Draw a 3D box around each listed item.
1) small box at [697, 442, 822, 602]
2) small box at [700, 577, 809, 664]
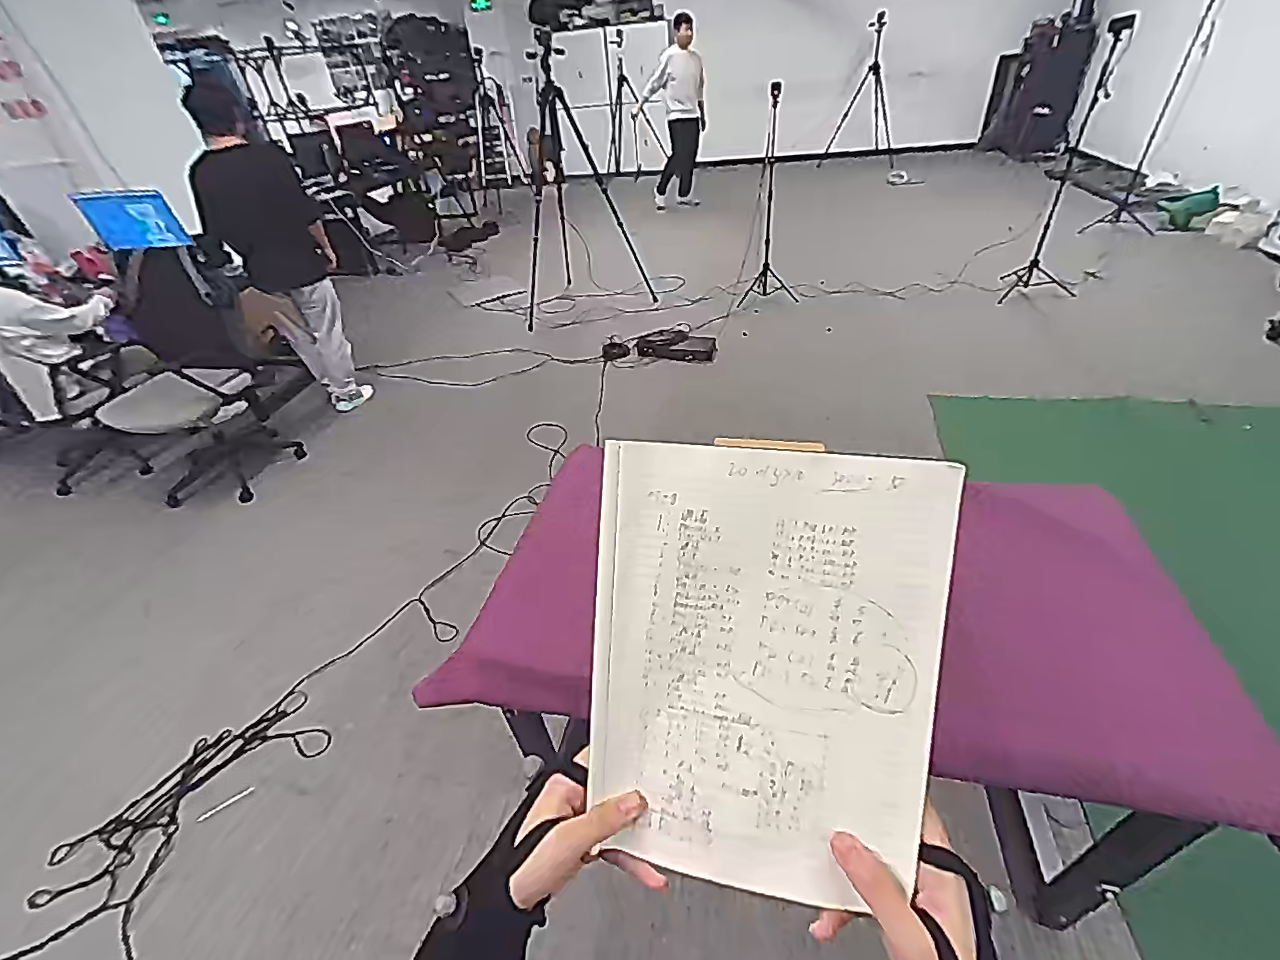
[{"bbox_3d":[0.183,0.061,0.819,0.168,0.176,0.179,5,38,14],"label":"small box"},{"bbox_3d":[0.198,0.188,0.924,0.168,0.176,0.179,5,40,13],"label":"small box"}]
